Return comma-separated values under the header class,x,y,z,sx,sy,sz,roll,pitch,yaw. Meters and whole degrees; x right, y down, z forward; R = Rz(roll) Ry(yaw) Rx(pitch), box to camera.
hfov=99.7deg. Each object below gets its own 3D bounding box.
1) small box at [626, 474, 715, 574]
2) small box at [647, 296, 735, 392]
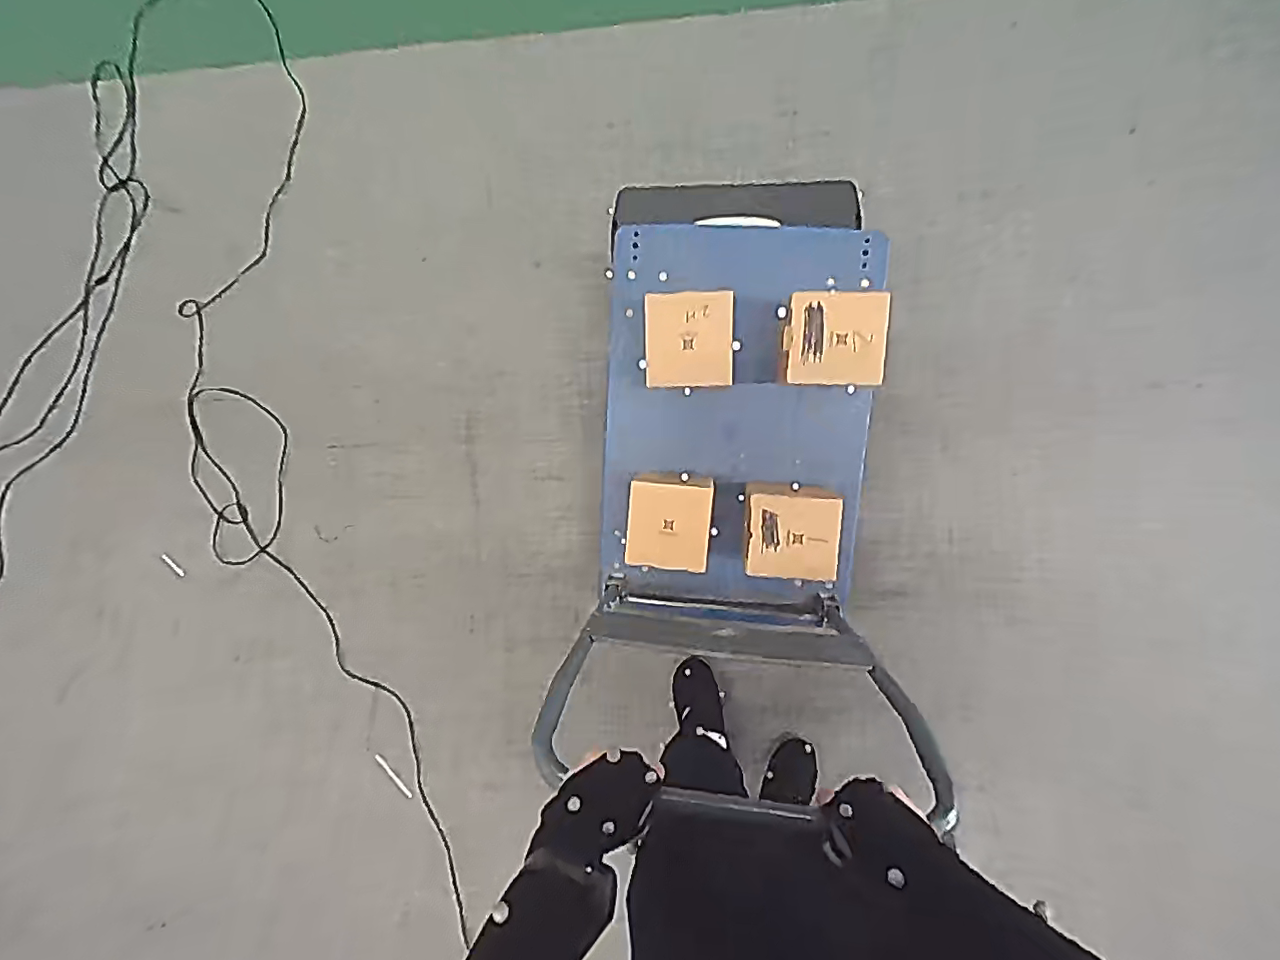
class,x,y,z,sx,sy,sz,roll,pitch,yaw
small box,0.067,0.085,1.157,0.168,0.176,0.179,6,99,6
small box,0.105,-0.270,1.101,0.168,0.176,0.179,0,99,6
